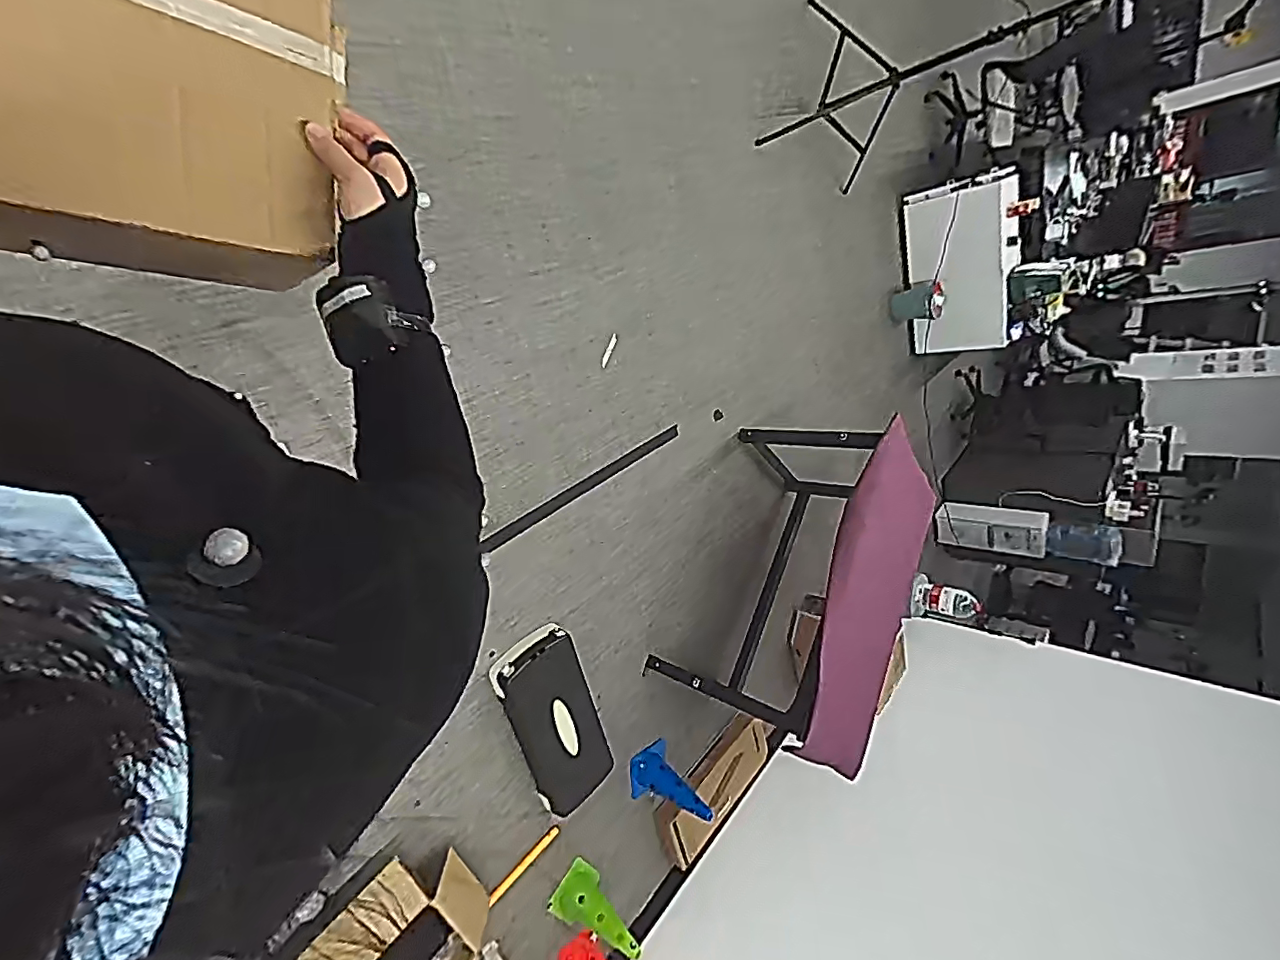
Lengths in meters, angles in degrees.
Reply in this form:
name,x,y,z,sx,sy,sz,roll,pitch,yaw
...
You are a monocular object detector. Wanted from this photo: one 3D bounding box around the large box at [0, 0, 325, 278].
name,x,y,z,sx,sy,sz,roll,pitch,yaw
large box,-0.516,-0.367,0.443,0.408,0.320,0.320,-4,102,-39
